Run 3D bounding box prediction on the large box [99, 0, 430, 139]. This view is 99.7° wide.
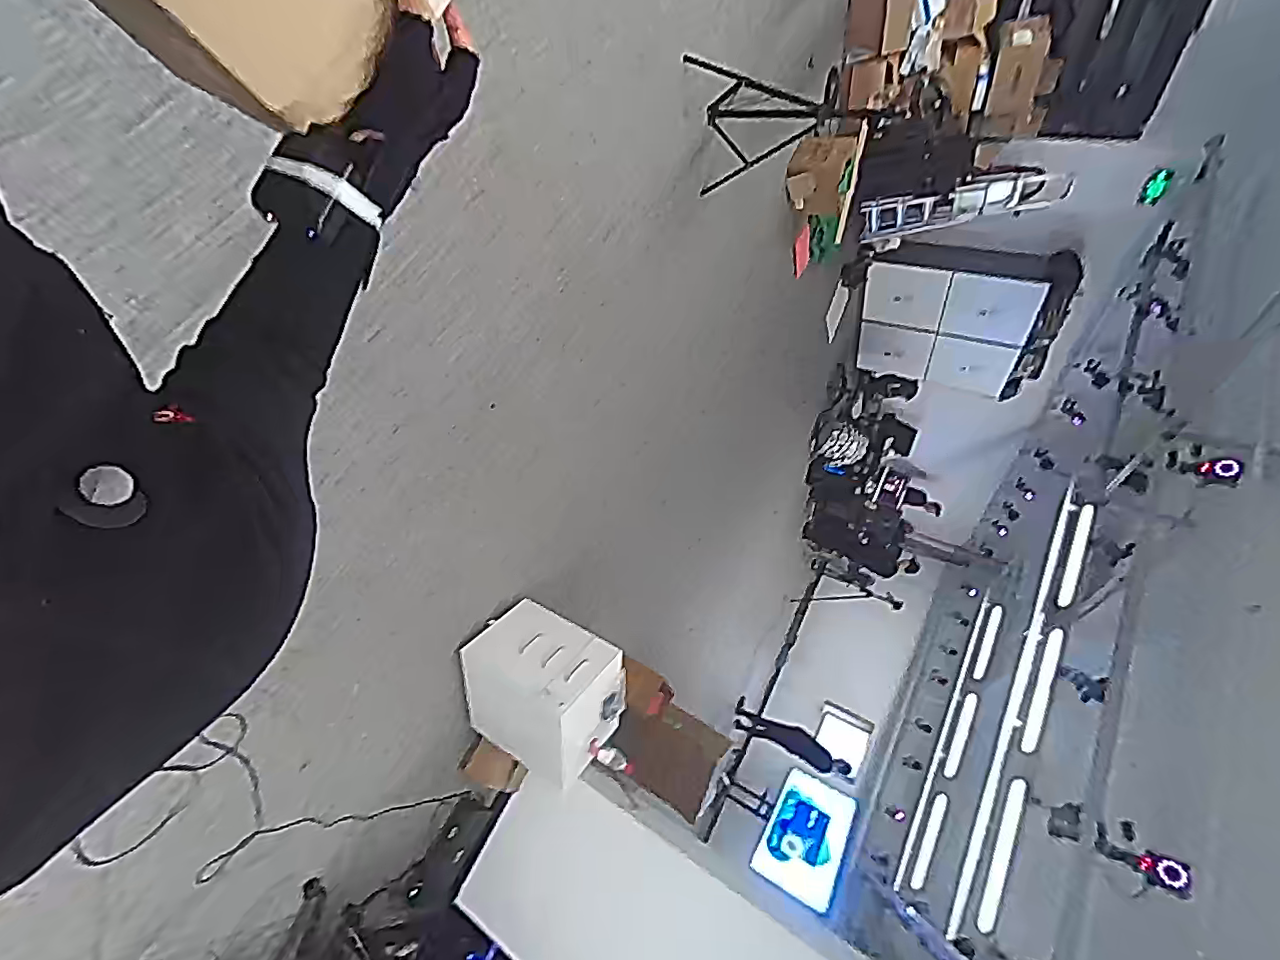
[{"bbox_3d":[-0.351,-0.527,0.331,0.320,0.320,0.408,-53,155,-1],"label":"large box"}]
